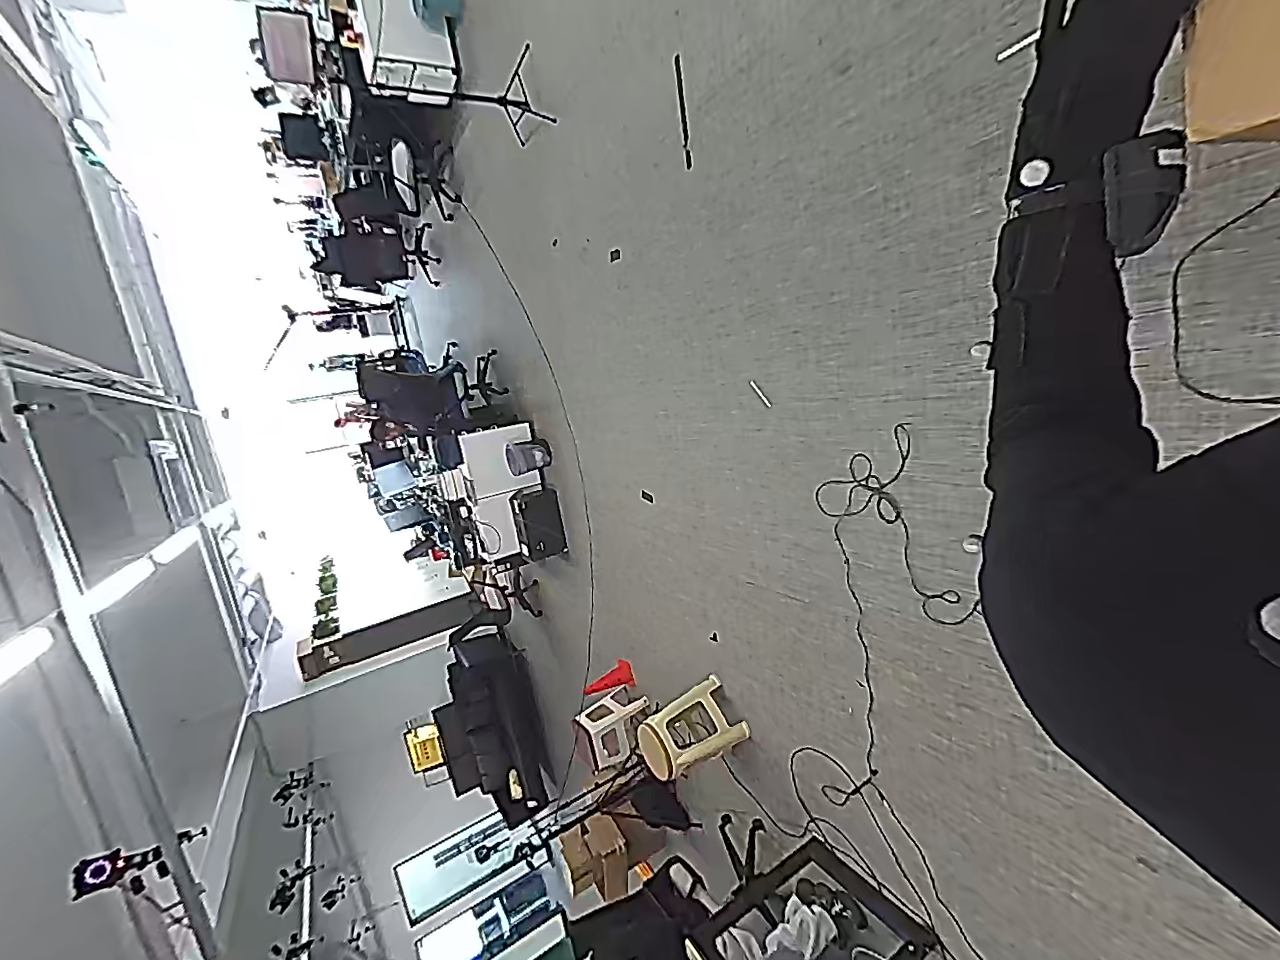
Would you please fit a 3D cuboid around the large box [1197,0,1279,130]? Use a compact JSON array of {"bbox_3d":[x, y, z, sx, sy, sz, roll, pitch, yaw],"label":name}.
[{"bbox_3d":[0.515,-0.379,0.186,0.408,0.320,0.320,8,115,59],"label":"large box"}]
